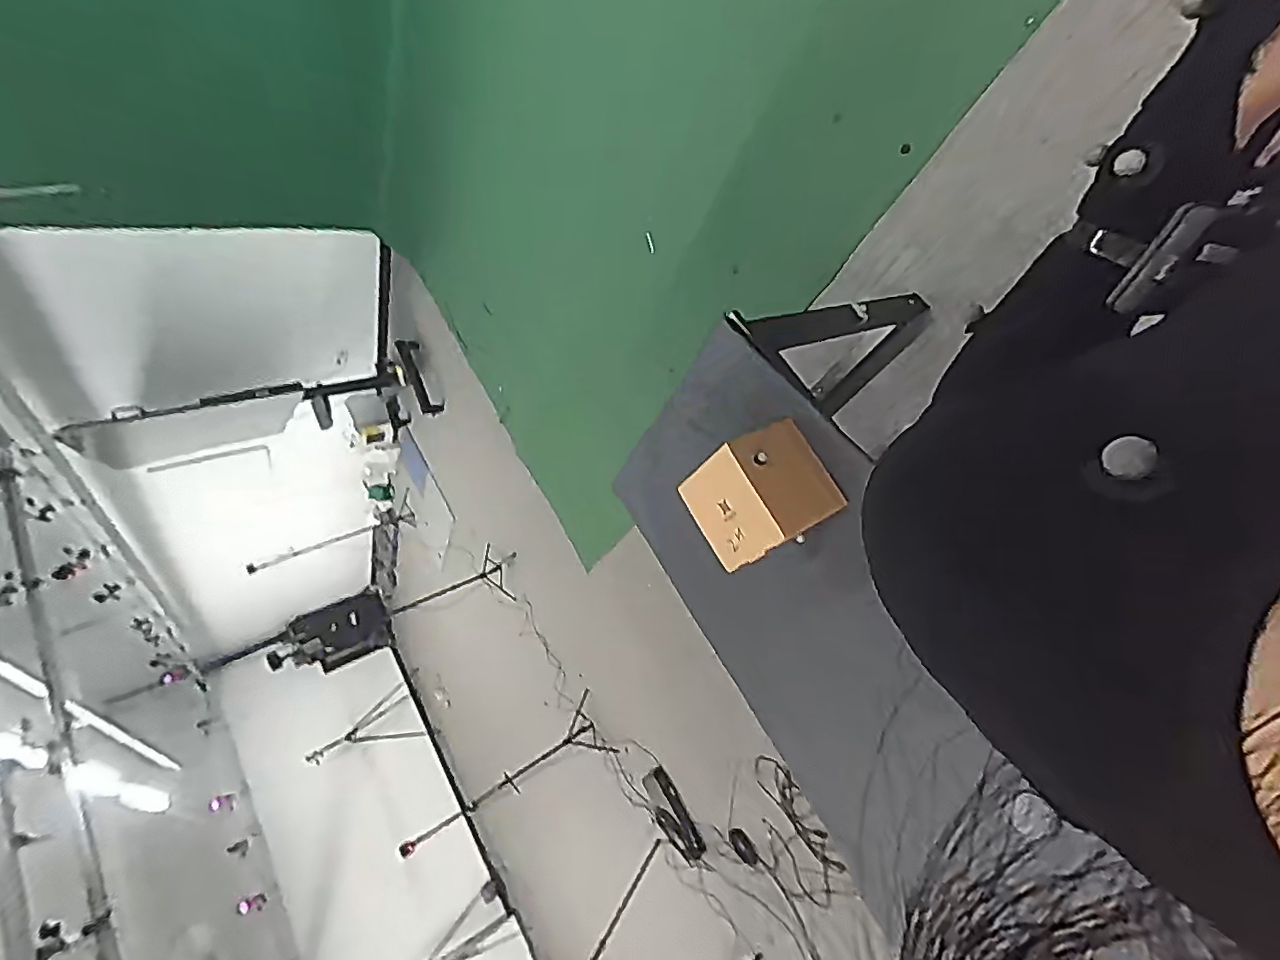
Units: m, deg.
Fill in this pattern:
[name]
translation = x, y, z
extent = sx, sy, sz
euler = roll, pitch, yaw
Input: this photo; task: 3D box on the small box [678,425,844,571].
[small box]
translation = 0.202, 0.022, 0.915
extent = 0.179, 0.176, 0.168
euler = 59, 144, 12
